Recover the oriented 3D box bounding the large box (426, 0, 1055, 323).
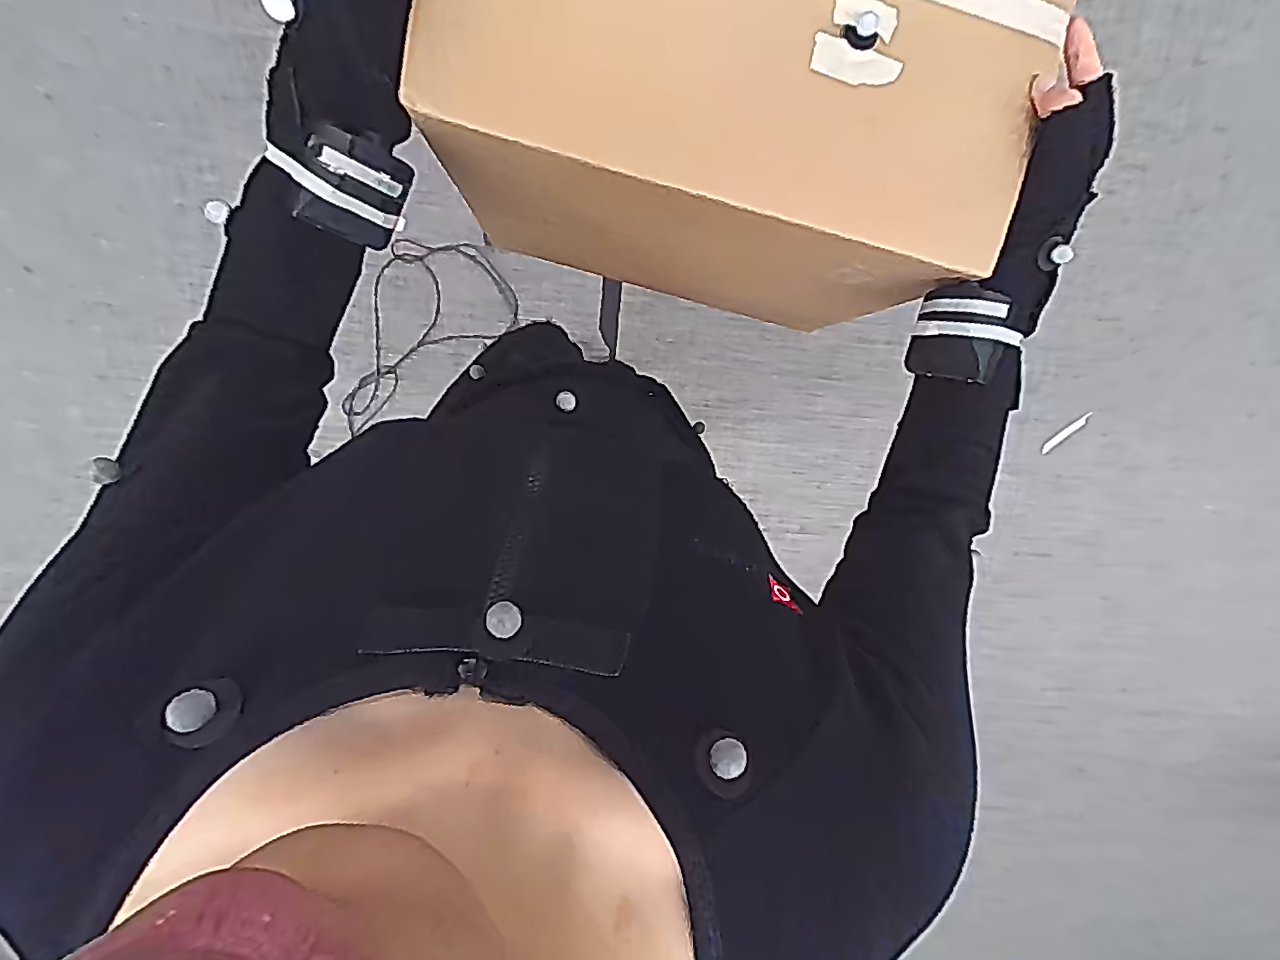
[{"bbox_3d":[0.069,-0.363,0.498,0.408,0.320,0.320,12,97,-7],"label":"large box"}]
